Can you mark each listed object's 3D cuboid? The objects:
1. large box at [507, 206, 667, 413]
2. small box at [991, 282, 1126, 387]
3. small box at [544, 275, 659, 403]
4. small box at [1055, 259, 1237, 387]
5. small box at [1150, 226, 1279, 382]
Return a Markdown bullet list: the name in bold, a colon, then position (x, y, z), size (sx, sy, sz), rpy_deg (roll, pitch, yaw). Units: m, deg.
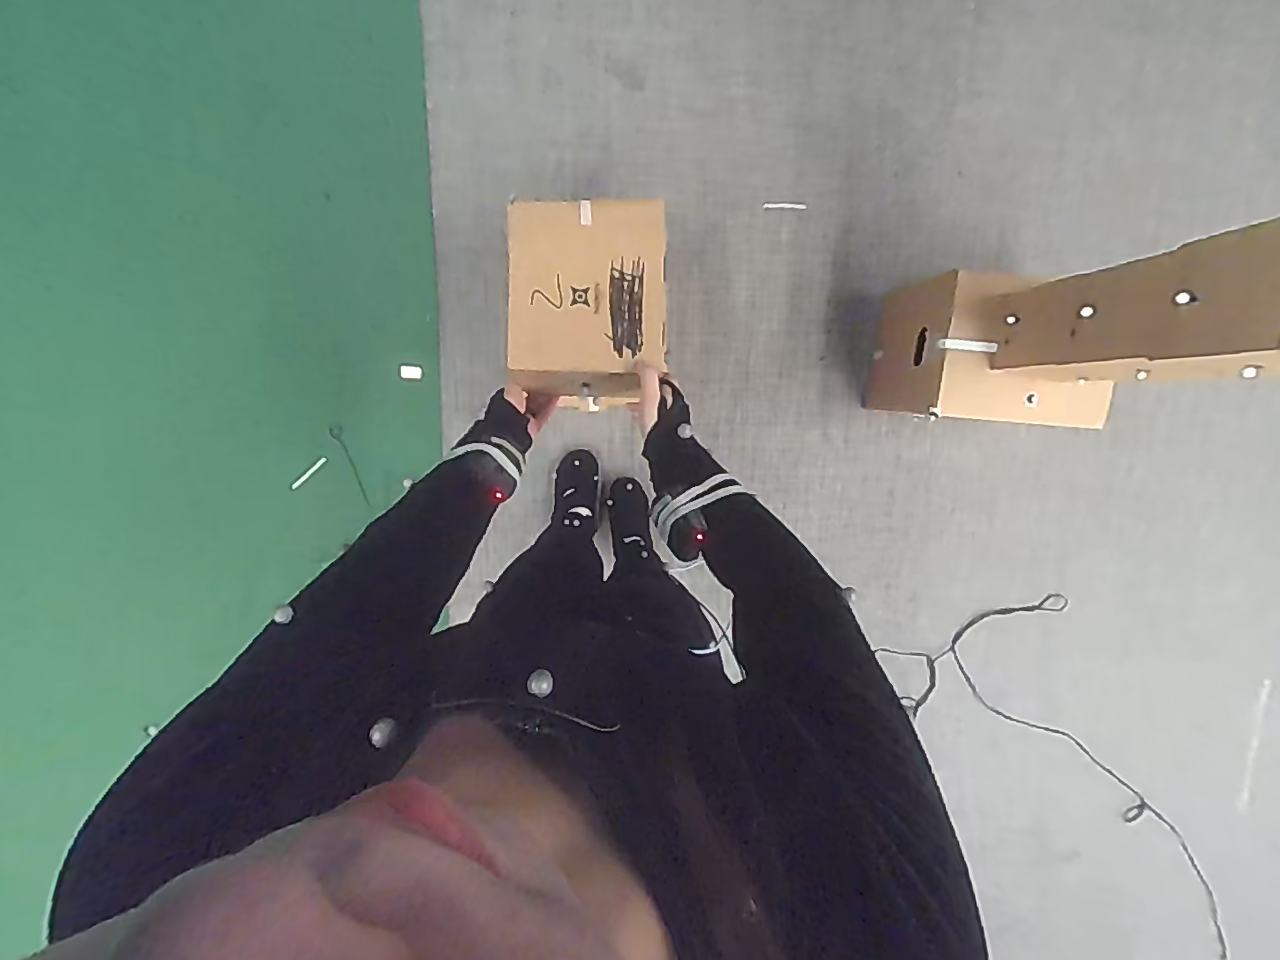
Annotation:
- **large box**: position (-0.111, -0.364, 1.246), size (0.320, 0.320, 0.408), rpy_deg (-2, 98, -4)
- **small box**: position (0.854, -0.280, 1.078), size (0.179, 0.176, 0.168), rpy_deg (8, 97, -5)
- **small box**: position (-0.062, -0.214, 0.859), size (0.168, 0.176, 0.179), rpy_deg (0, 98, -5)
- **small box**: position (0.868, -0.254, 0.916), size (0.179, 0.176, 0.168), rpy_deg (9, 96, -5)
- **small box**: position (0.878, -0.235, 0.753), size (0.168, 0.176, 0.179), rpy_deg (8, 97, -6)
